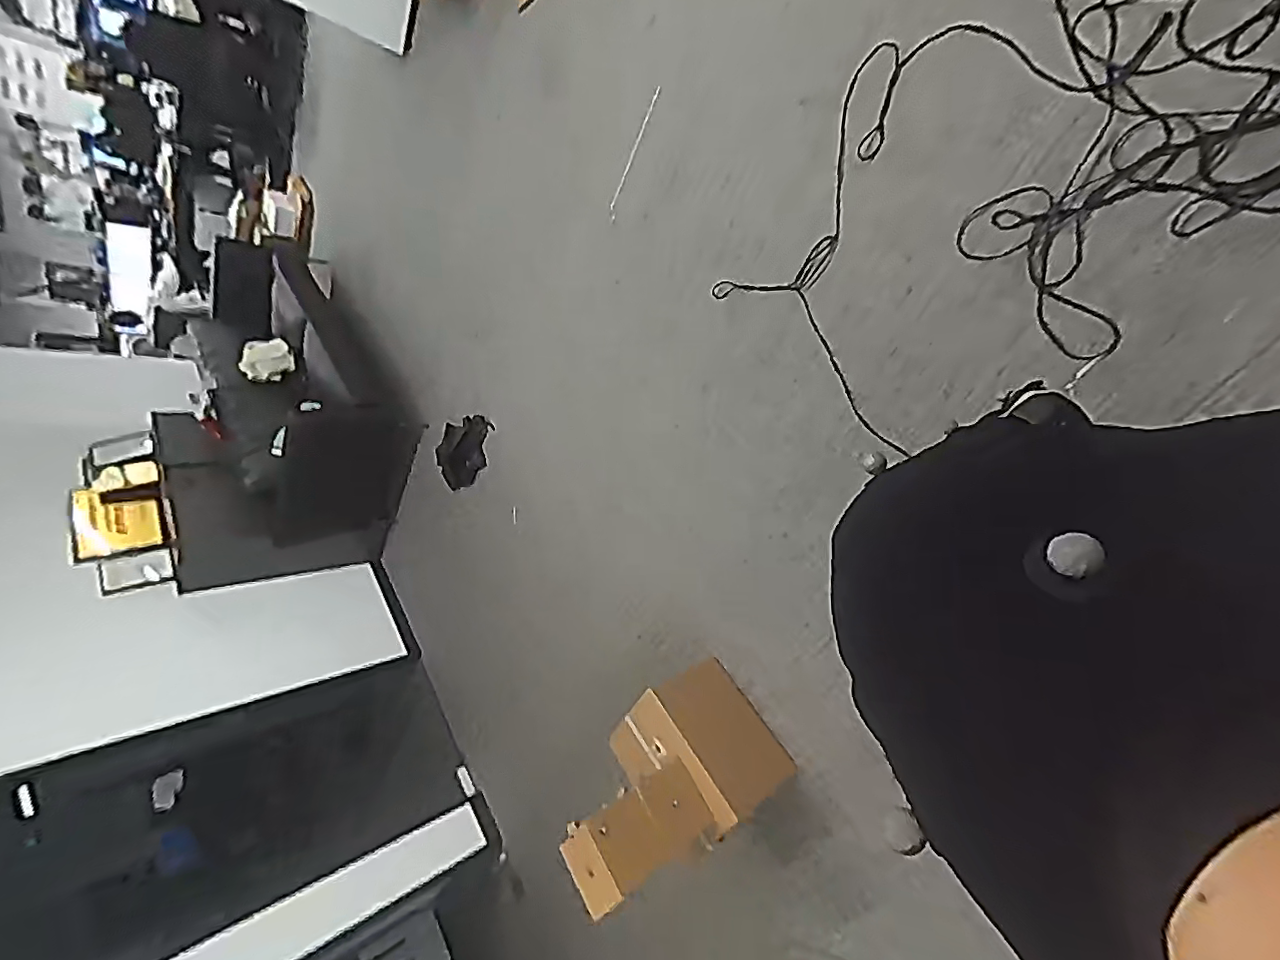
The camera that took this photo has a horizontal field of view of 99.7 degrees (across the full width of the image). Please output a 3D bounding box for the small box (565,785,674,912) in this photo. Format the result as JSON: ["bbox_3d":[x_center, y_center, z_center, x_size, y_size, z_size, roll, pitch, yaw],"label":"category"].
[{"bbox_3d":[-0.048,0.897,1.328,0.179,0.176,0.168,51,127,29],"label":"small box"}]

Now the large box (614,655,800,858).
[{"bbox_3d":[0.197,0.821,1.652,0.408,0.320,0.320,51,125,31],"label":"large box"}]
